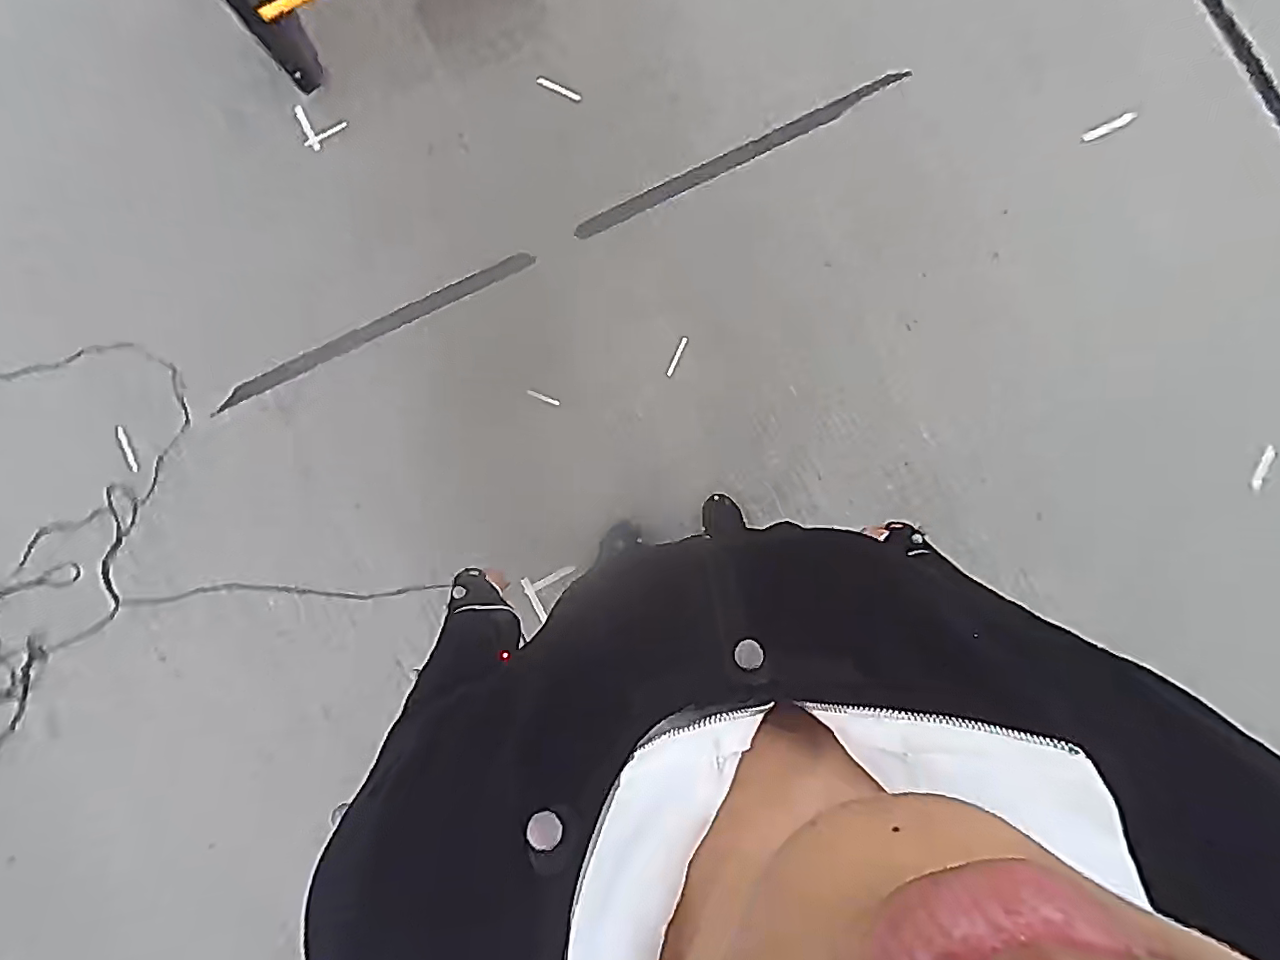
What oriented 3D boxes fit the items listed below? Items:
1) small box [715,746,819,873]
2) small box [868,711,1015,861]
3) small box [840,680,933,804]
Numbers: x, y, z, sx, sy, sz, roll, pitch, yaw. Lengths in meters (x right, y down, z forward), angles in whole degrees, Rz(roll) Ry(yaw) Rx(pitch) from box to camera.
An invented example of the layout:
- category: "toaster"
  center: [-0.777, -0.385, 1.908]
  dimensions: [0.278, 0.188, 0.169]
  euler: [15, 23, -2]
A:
- category: "small box"
  center: [0.287, 0.759, 1.274]
  dimensions: [0.168, 0.176, 0.179]
  euler: [-28, 86, 2]
- category: "small box"
  center: [0.601, 0.611, 1.102]
  dimensions: [0.168, 0.176, 0.179]
  euler: [-28, 87, 1]
- category: "small box"
  center: [0.599, 0.604, 1.266]
  dimensions: [0.168, 0.176, 0.179]
  euler: [-27, 87, 1]
